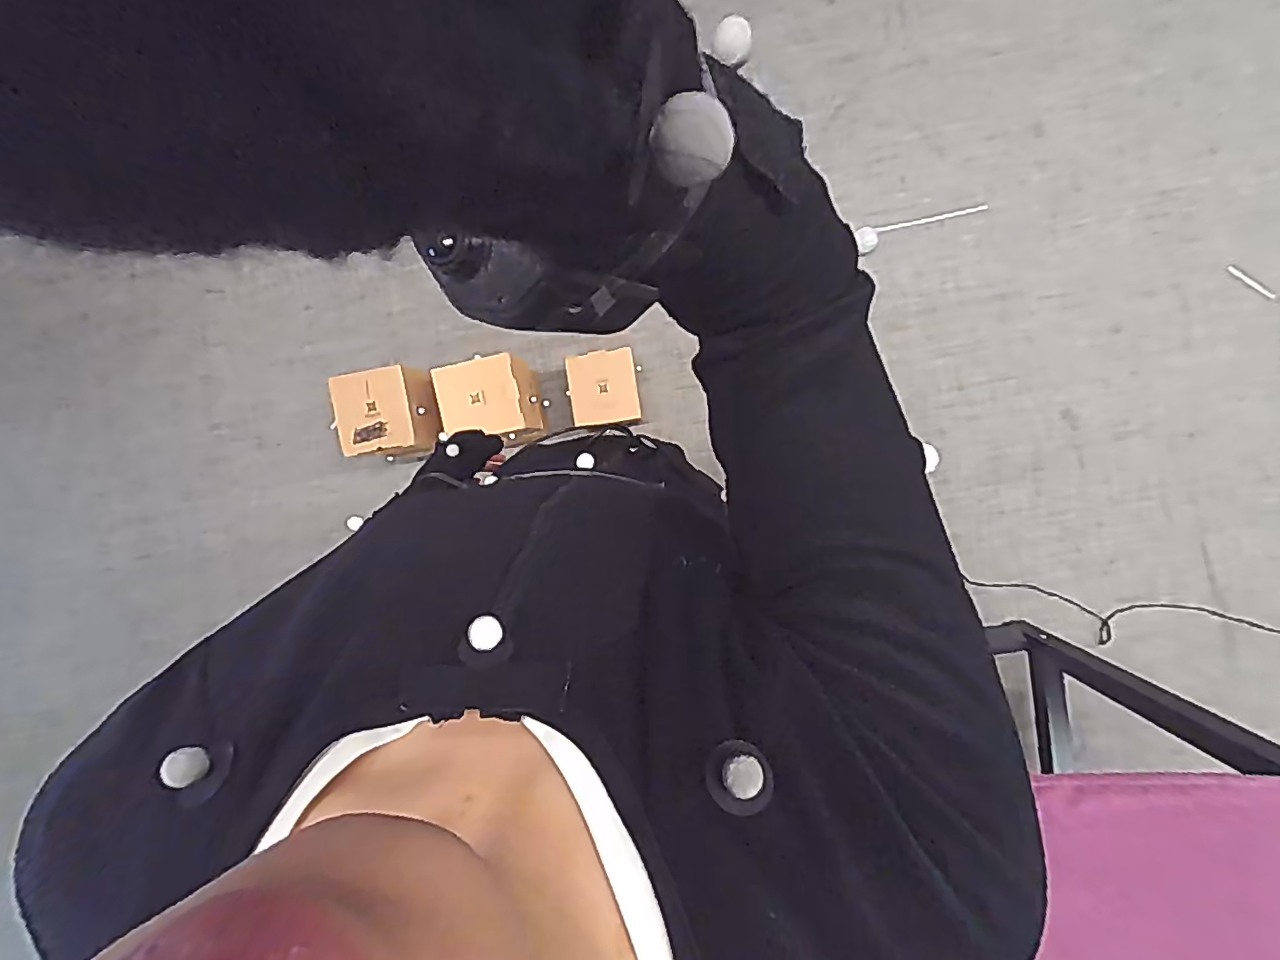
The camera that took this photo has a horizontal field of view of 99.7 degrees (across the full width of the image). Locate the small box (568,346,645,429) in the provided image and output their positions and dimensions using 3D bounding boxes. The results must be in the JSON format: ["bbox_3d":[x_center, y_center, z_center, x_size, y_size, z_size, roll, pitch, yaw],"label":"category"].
[{"bbox_3d":[-0.080,-0.230,1.380,0.168,0.176,0.179,-8,93,3],"label":"small box"}]

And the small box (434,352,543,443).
[{"bbox_3d":[-0.336,-0.179,1.229,0.179,0.176,0.168,-12,93,3],"label":"small box"}]

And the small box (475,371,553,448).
[{"bbox_3d":[-0.333,-0.183,1.391,0.168,0.176,0.179,-11,92,5],"label":"small box"}]
